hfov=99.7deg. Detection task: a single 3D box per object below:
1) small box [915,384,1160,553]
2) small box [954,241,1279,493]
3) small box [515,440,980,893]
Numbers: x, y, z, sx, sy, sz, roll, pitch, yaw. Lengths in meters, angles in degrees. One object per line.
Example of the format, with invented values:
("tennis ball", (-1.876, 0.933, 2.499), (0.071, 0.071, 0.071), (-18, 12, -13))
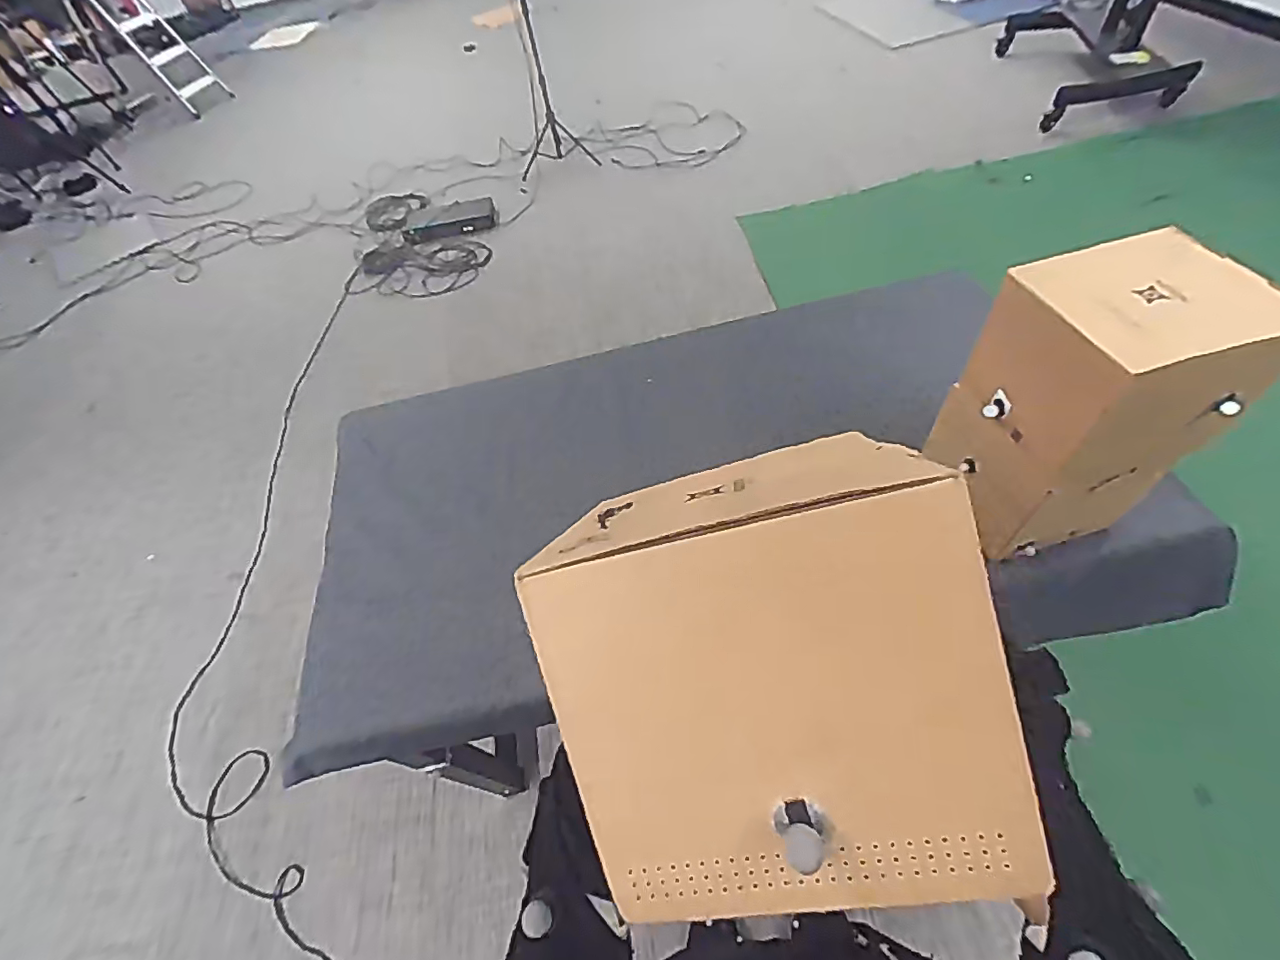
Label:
("small box", (0.492, -0.024, 0.697), (0.168, 0.176, 0.179), (-16, 52, -3))
("small box", (0.472, -0.112, 0.563), (0.179, 0.176, 0.168), (-15, 52, 0))
("small box", (0.061, 0.085, 0.302), (0.179, 0.168, 0.176), (-14, 96, 12))
